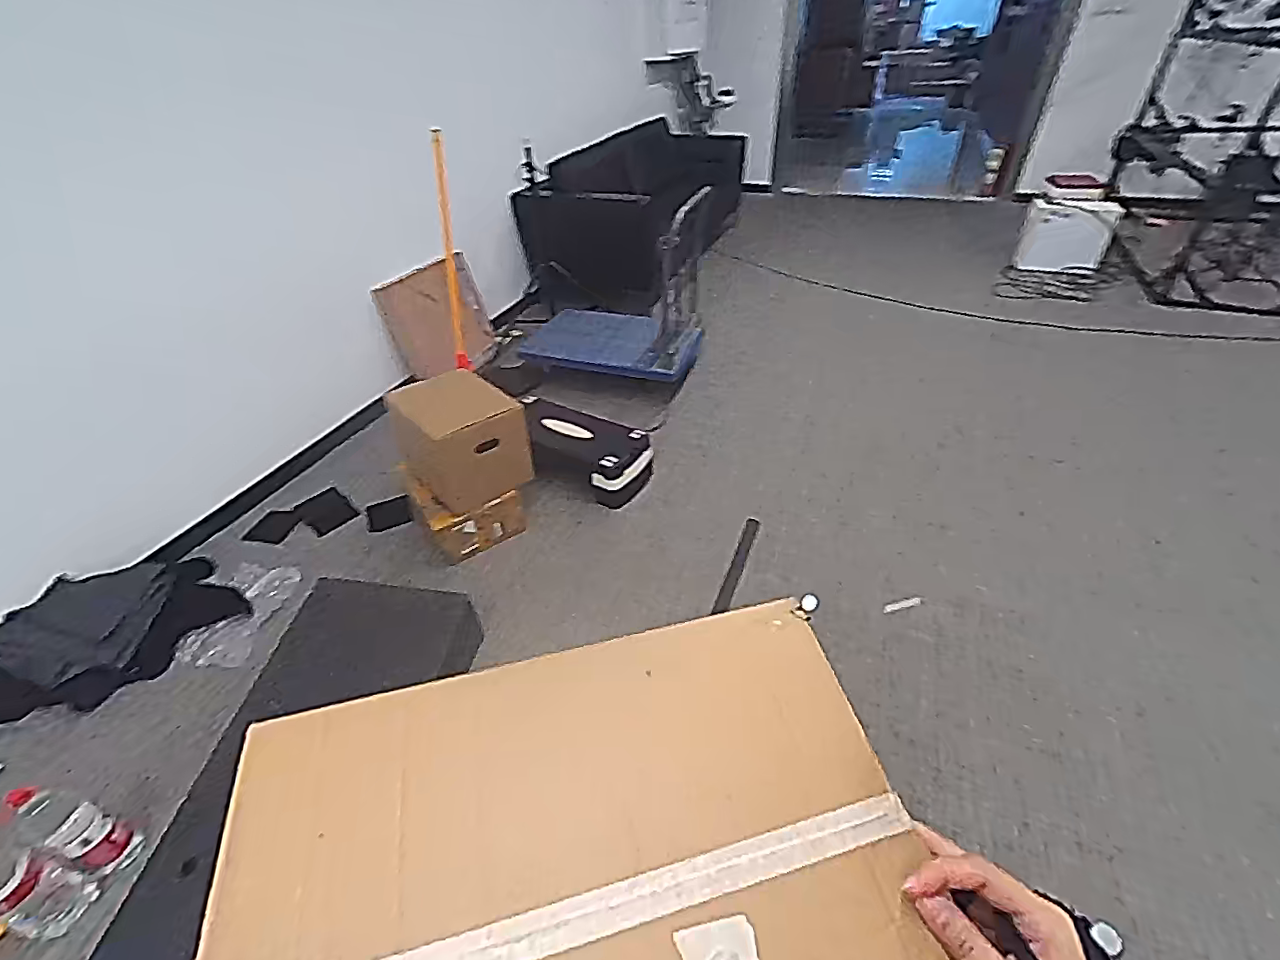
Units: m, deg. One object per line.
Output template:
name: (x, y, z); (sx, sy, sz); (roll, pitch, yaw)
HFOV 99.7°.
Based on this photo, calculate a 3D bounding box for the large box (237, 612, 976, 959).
large box: (-0.026, 0.352, 0.420); (0.408, 0.320, 0.320); (-10, 50, -11)
